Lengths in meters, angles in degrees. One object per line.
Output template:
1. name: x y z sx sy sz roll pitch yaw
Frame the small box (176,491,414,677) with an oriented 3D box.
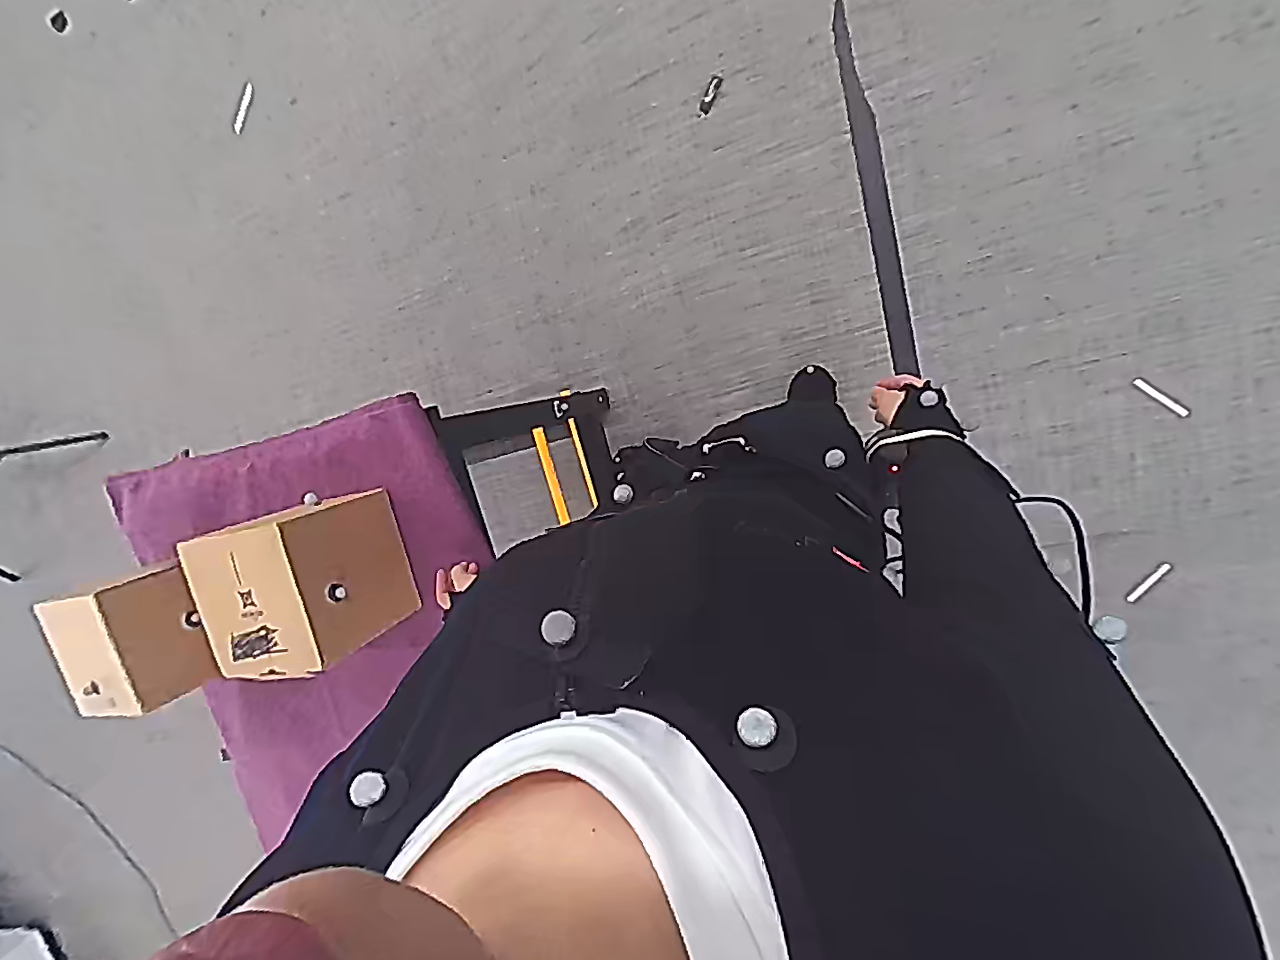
1. small box: -0.421 0.126 0.689 0.168 0.176 0.179 -10 99 18
